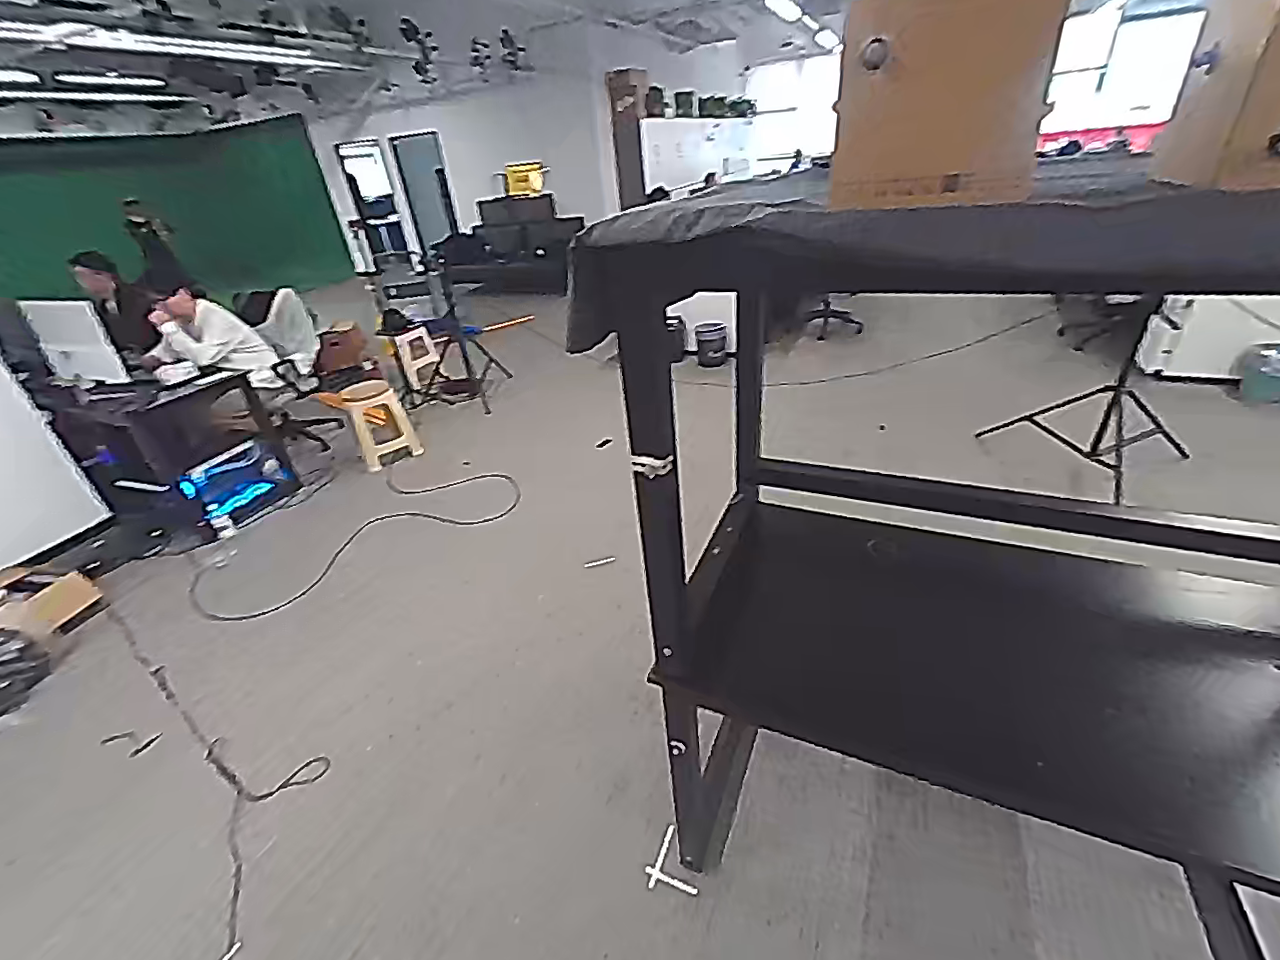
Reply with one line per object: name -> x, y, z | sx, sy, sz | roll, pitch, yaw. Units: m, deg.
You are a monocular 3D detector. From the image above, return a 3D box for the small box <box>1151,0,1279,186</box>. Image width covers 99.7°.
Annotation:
small box -> 0.544, -0.326, 0.411 | 0.168, 0.176, 0.179 | 9, 32, 24
